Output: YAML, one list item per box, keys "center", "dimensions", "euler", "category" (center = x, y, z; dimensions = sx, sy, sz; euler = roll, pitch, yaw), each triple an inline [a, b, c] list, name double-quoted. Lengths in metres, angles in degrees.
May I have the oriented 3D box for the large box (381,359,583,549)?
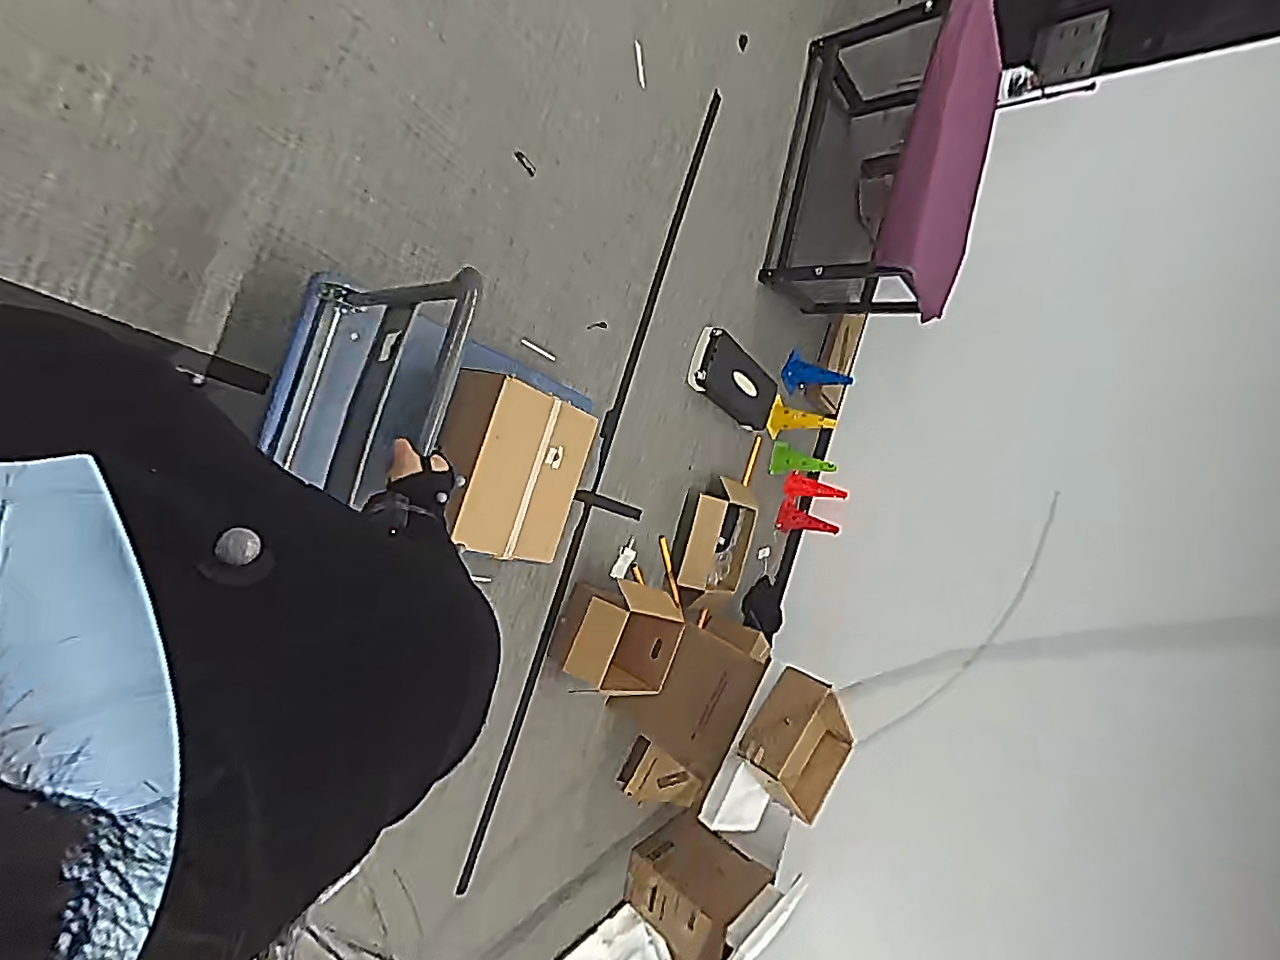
- center: [-0.408, -0.065, 1.403]
  dimensions: [0.320, 0.320, 0.408]
  euler: [22, 84, -51]
  category: "large box"
